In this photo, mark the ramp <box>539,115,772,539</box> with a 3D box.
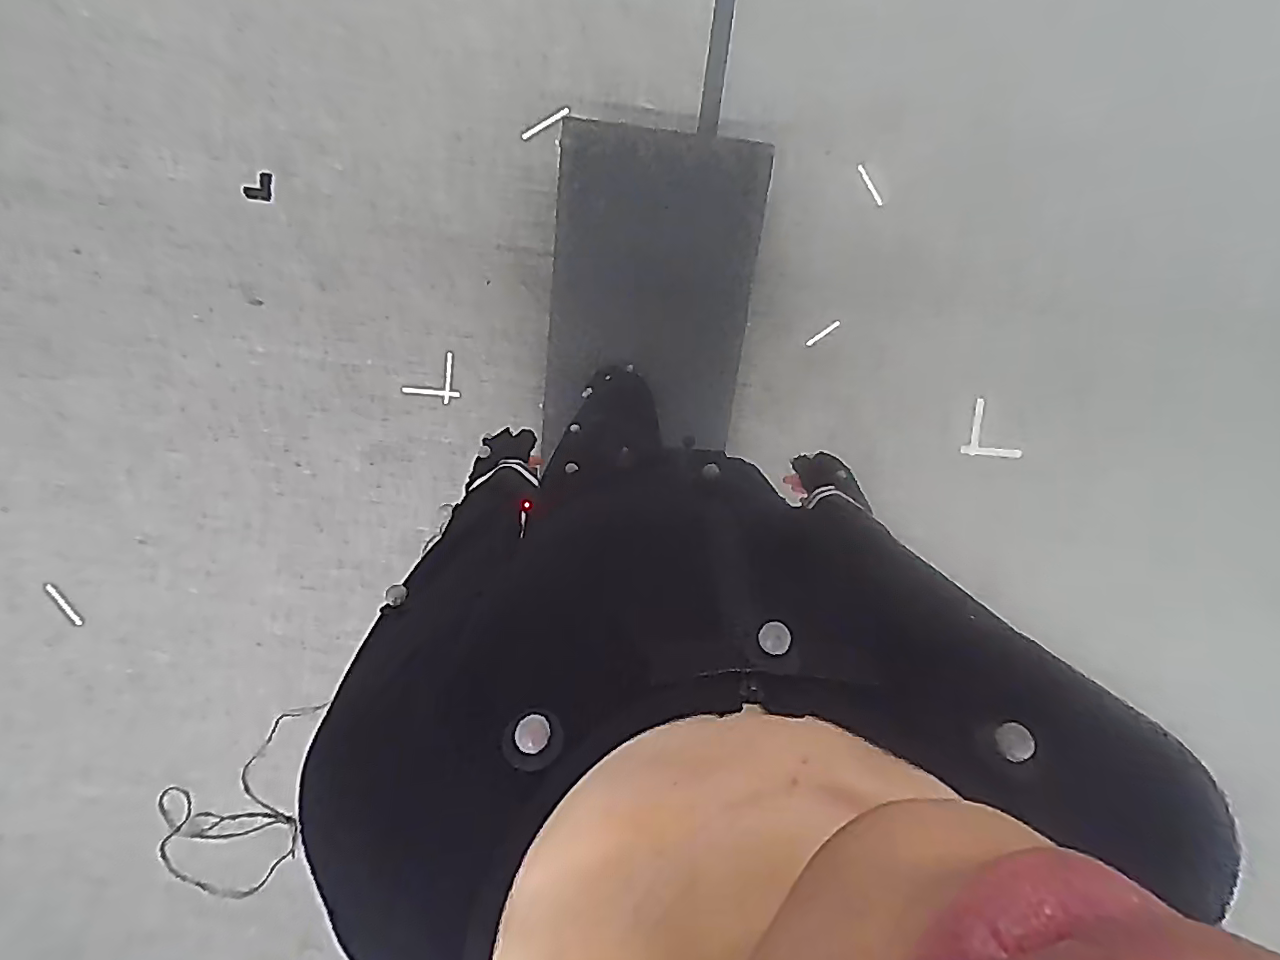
[{"bbox_3d":[0.013,-0.328,1.373,0.509,0.206,0.991,4,97,-3],"label":"ramp"}]
